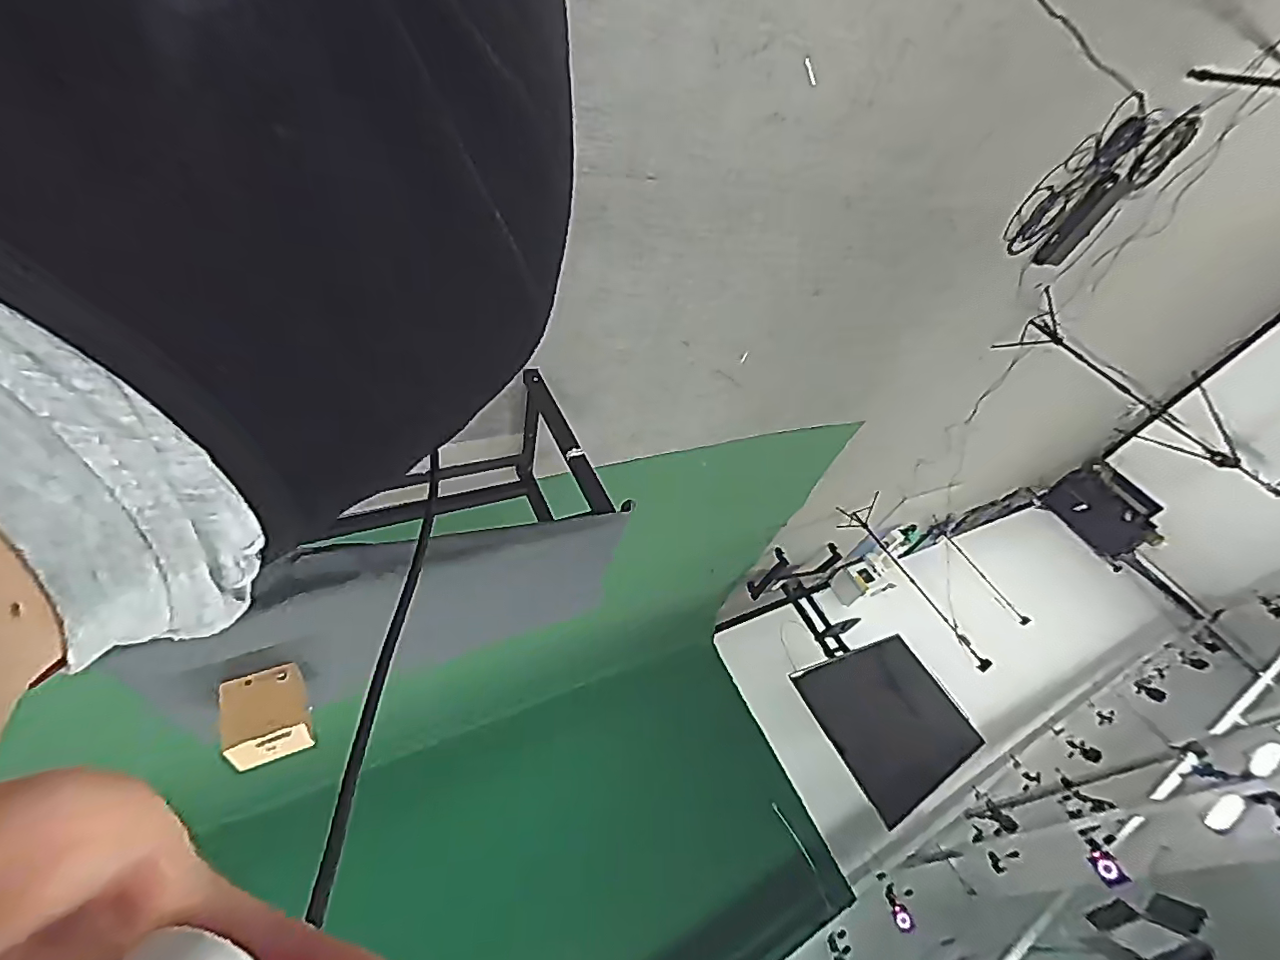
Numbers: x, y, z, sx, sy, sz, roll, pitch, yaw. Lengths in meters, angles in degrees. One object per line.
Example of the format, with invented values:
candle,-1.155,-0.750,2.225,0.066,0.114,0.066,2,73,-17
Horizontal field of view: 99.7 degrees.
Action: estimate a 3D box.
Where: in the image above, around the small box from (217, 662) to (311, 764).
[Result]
small box,-0.959,0.587,1.381,0.168,0.176,0.179,-12,145,-29
